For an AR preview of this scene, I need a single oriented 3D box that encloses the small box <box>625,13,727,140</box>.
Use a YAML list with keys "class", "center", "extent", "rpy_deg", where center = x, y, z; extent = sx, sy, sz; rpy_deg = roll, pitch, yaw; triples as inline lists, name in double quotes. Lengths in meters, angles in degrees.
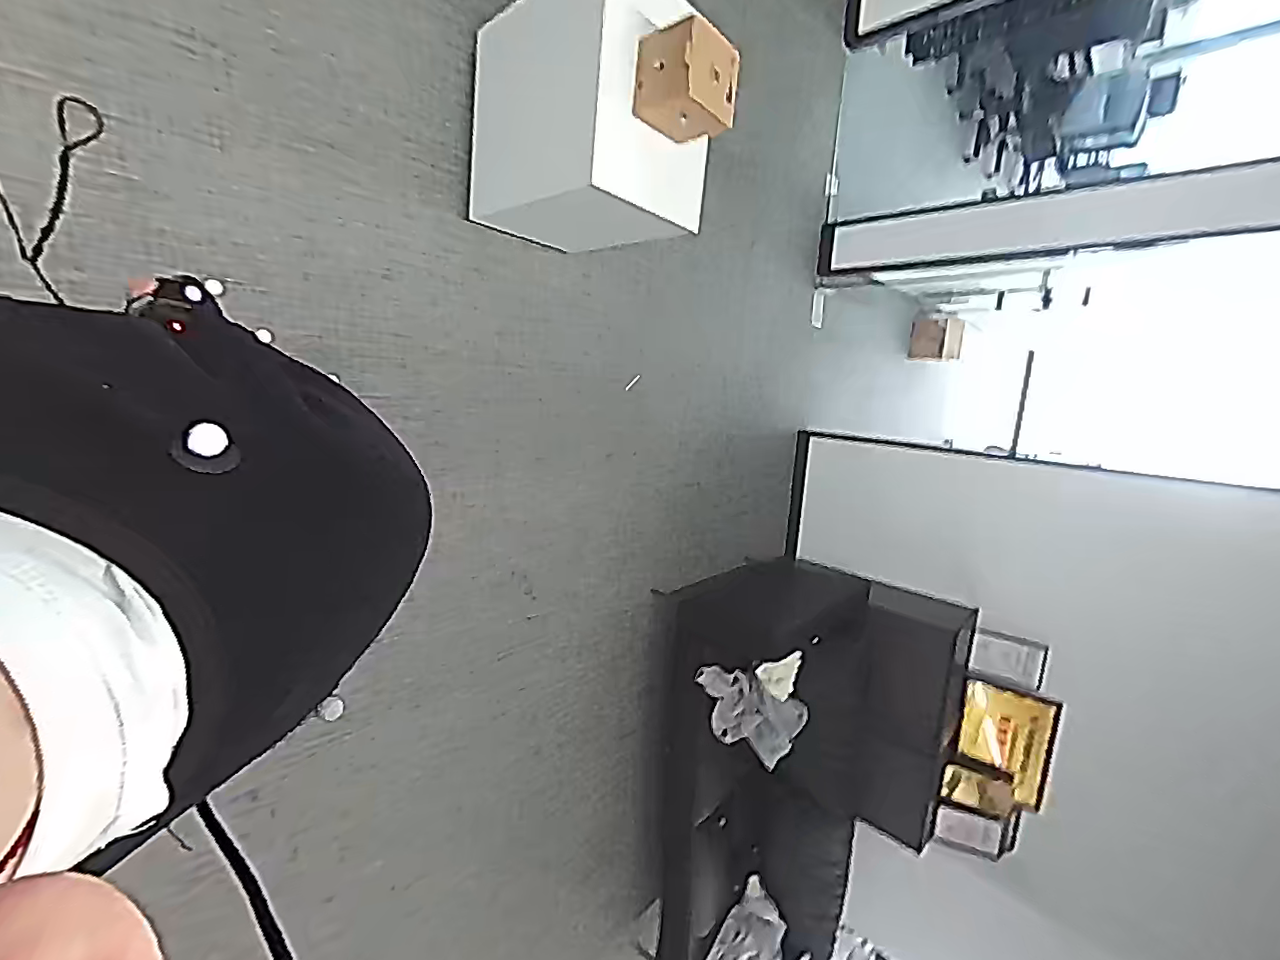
- class: "small box"
  center: [0.081, -0.934, 1.274]
  extent: [0.179, 0.176, 0.168]
  rpy_deg: [-8, 105, -47]
